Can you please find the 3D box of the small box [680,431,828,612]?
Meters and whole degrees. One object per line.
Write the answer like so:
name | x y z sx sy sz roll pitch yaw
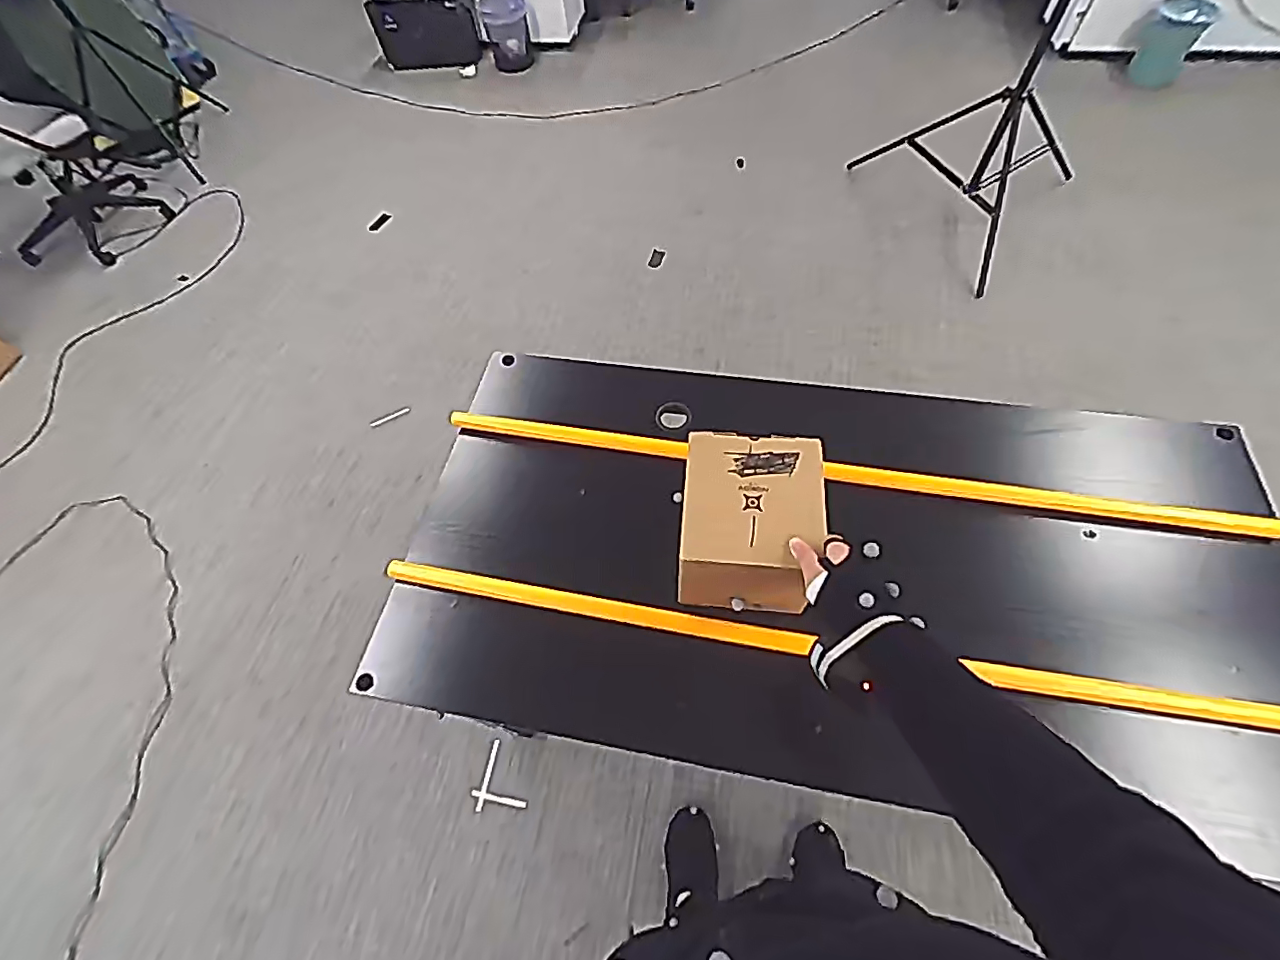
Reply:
small box | 0.141 0.058 0.710 0.168 0.176 0.179 4 61 7
